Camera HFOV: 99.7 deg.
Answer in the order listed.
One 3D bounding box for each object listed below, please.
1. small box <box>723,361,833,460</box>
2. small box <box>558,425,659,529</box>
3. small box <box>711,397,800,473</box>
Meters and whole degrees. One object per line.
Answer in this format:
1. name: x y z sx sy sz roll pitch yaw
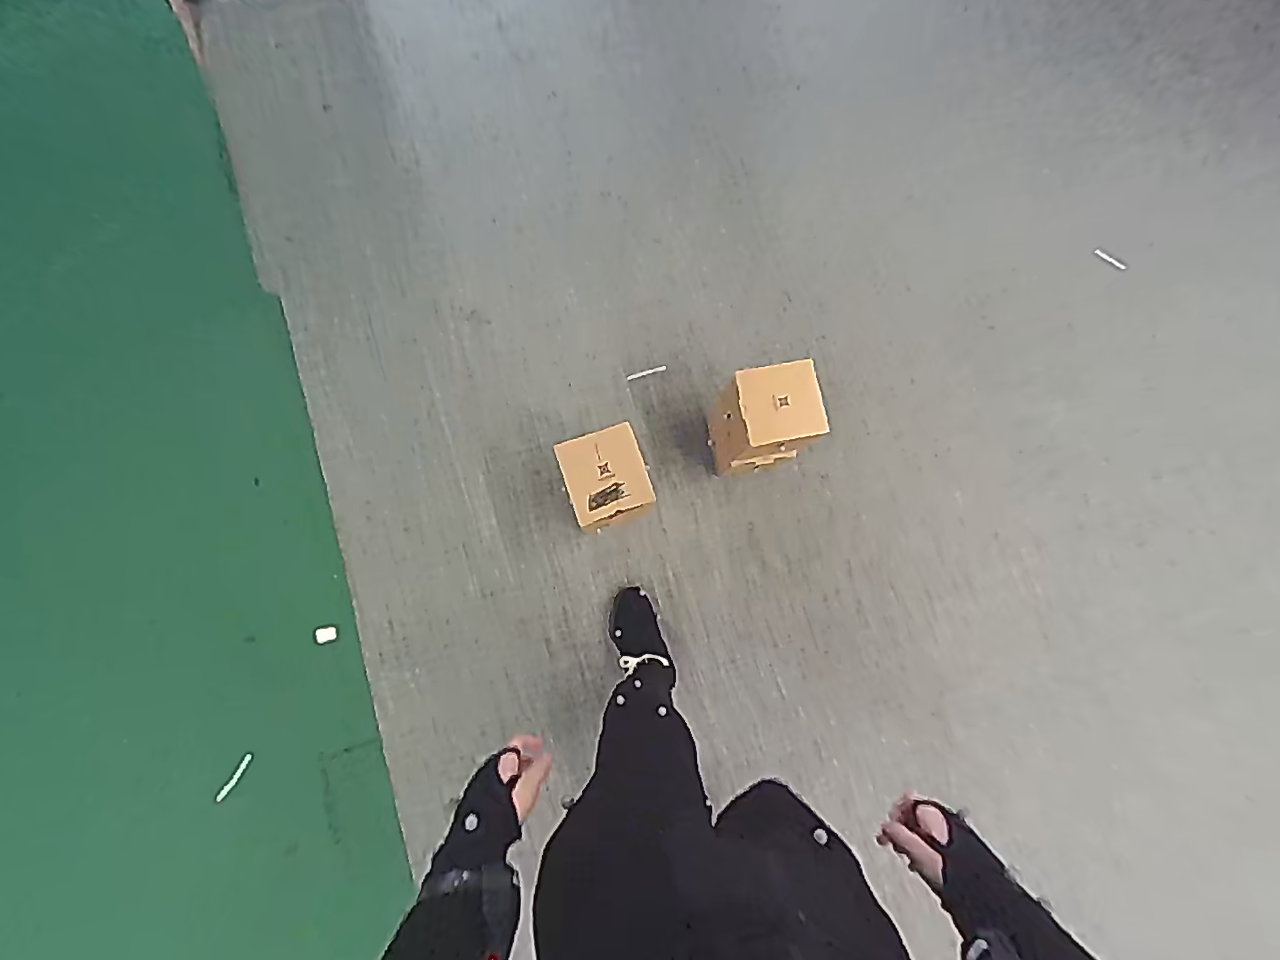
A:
1. small box: 0.300 -0.149 1.208 0.179 0.176 0.168 -11 83 -3
2. small box: -0.065 0.002 1.170 0.168 0.176 0.179 -19 82 -5
3. small box: 0.285 -0.116 1.367 0.168 0.176 0.179 -9 83 -4
